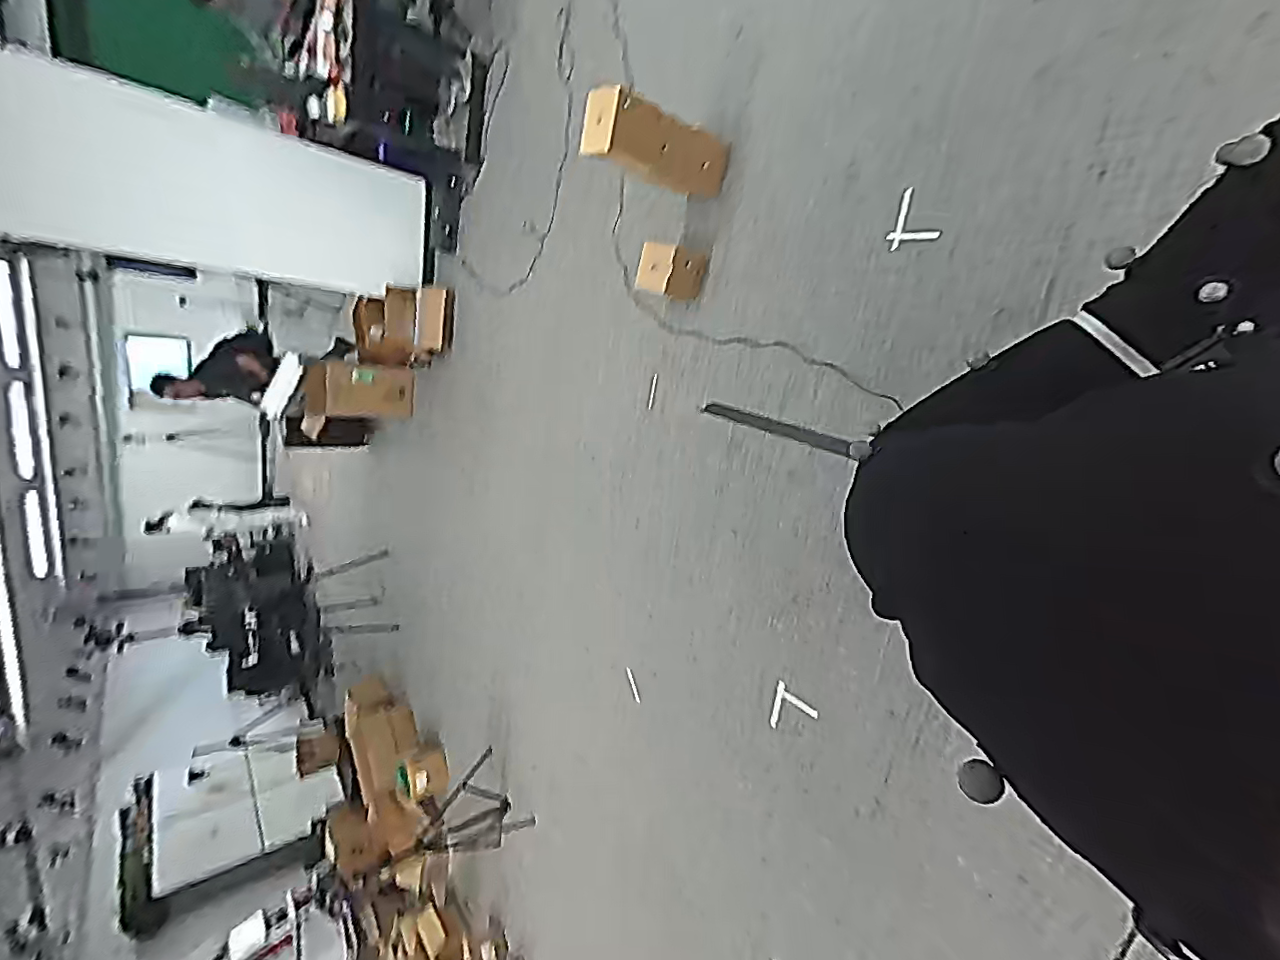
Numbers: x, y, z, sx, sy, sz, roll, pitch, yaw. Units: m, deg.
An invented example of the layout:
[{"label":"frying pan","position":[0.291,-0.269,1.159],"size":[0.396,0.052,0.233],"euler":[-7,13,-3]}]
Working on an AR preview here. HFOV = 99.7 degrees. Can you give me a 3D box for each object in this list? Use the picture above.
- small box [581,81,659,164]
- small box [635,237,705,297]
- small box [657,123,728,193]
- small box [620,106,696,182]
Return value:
[{"label":"small box","position":[-0.061,-1.107,1.693],"size":[0.168,0.176,0.179],"euler":[31,115,44]},{"label":"small box","position":[0.115,-0.792,2.017],"size":[0.179,0.176,0.168],"euler":[35,117,42]},{"label":"small box","position":[0.186,-1.130,1.909],"size":[0.168,0.176,0.179],"euler":[31,115,43]},{"label":"small box","position":[0.062,-1.112,1.801],"size":[0.168,0.176,0.179],"euler":[33,116,42]}]
